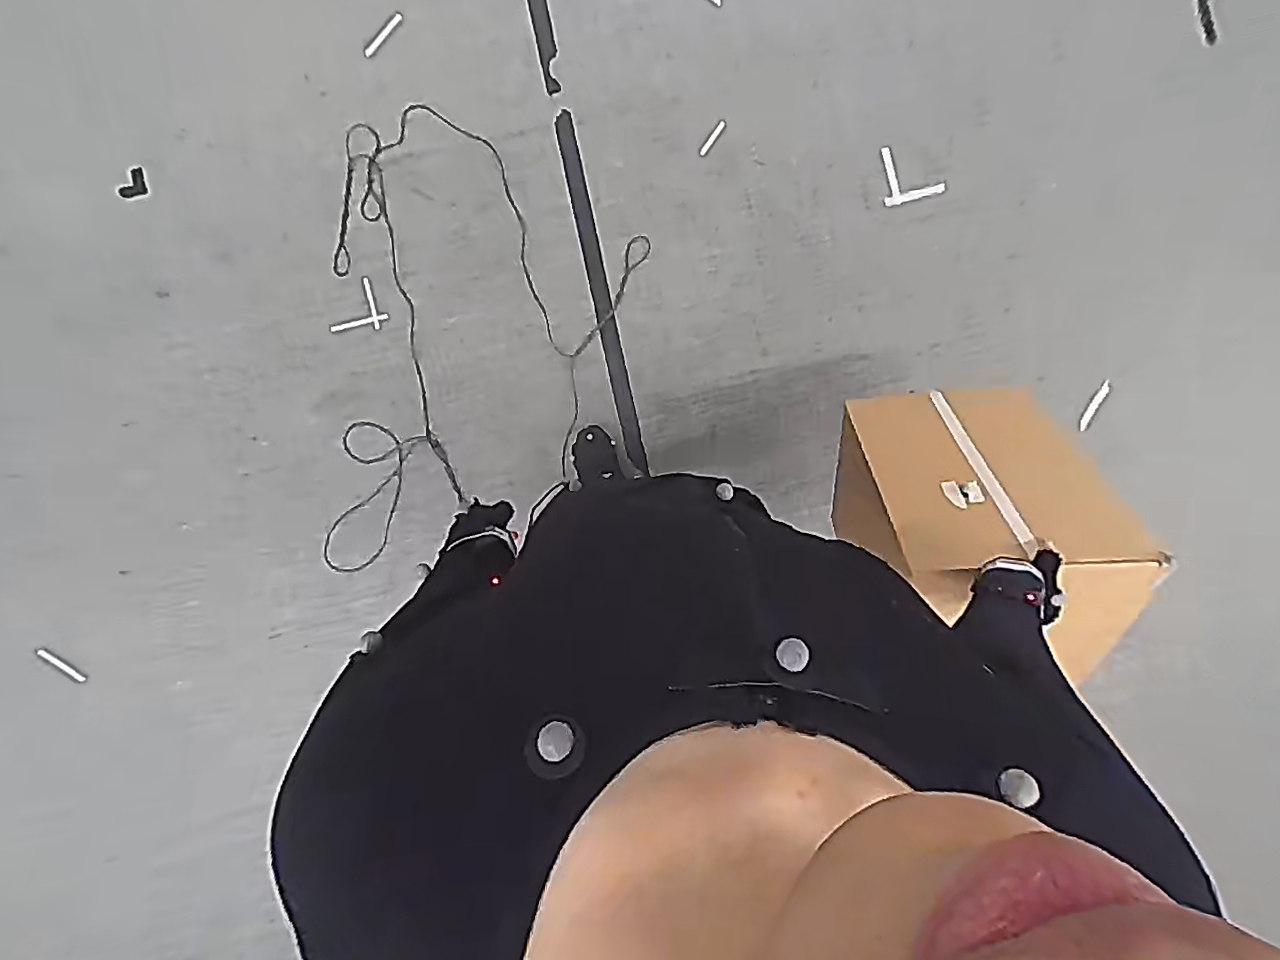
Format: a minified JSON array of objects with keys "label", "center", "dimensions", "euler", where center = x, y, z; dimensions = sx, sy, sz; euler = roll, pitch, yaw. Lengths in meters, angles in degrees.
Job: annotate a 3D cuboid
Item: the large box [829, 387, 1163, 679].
[{"label":"large box","center":[0.546,0.087,0.952],"dimensions":[0.320,0.408,0.320],"euler":[-6,133,8]}]
